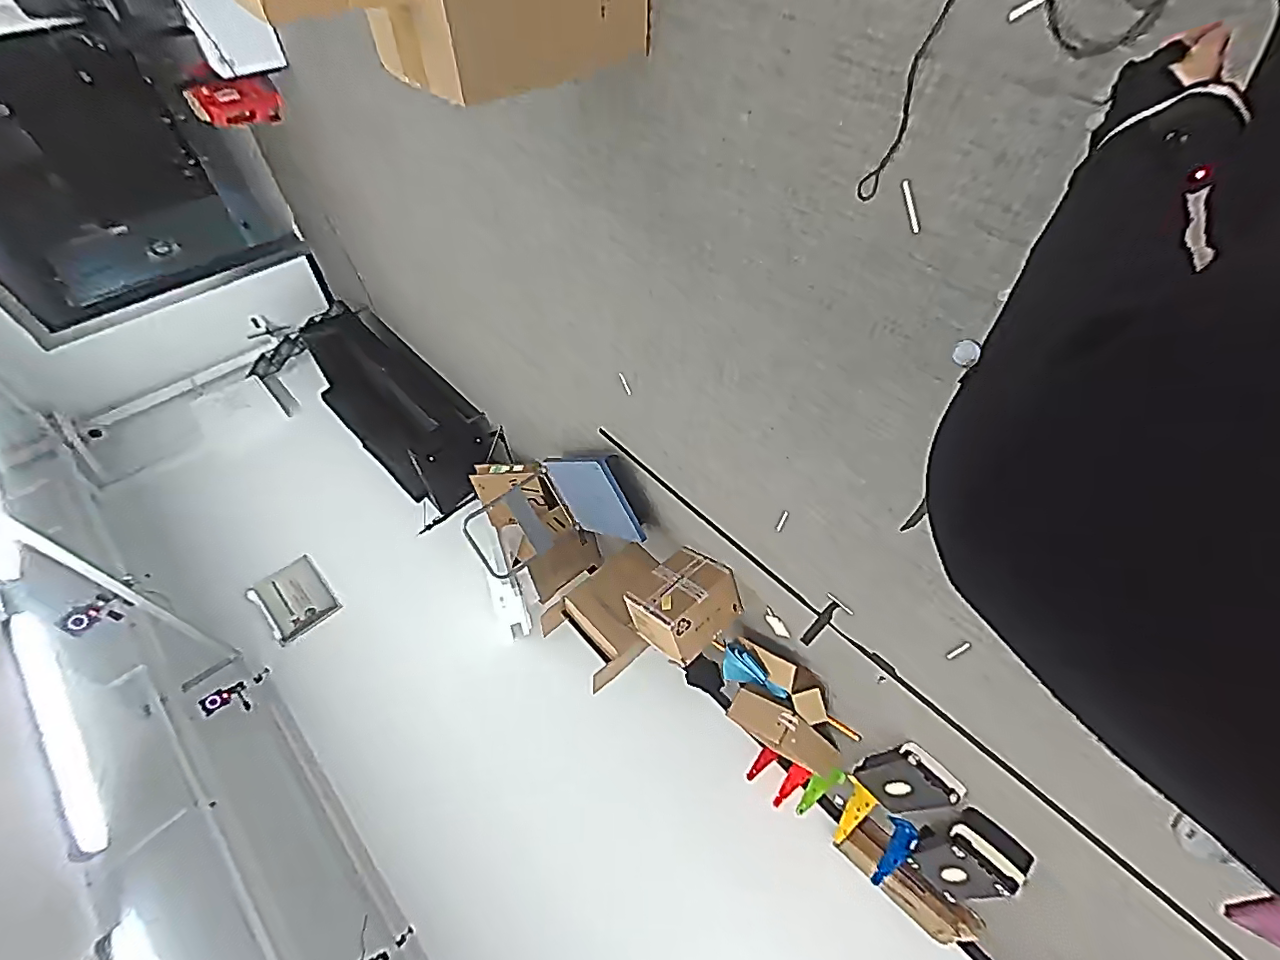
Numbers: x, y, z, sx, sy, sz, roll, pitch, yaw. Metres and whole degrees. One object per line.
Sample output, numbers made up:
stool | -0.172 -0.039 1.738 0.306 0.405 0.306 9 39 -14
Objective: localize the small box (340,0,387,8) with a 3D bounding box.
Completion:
small box | -0.587 -1.103 1.103 0.179 0.176 0.168 41 153 24

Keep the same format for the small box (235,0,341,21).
small box | -0.711 -1.019 1.033 0.179 0.176 0.168 42 154 22
